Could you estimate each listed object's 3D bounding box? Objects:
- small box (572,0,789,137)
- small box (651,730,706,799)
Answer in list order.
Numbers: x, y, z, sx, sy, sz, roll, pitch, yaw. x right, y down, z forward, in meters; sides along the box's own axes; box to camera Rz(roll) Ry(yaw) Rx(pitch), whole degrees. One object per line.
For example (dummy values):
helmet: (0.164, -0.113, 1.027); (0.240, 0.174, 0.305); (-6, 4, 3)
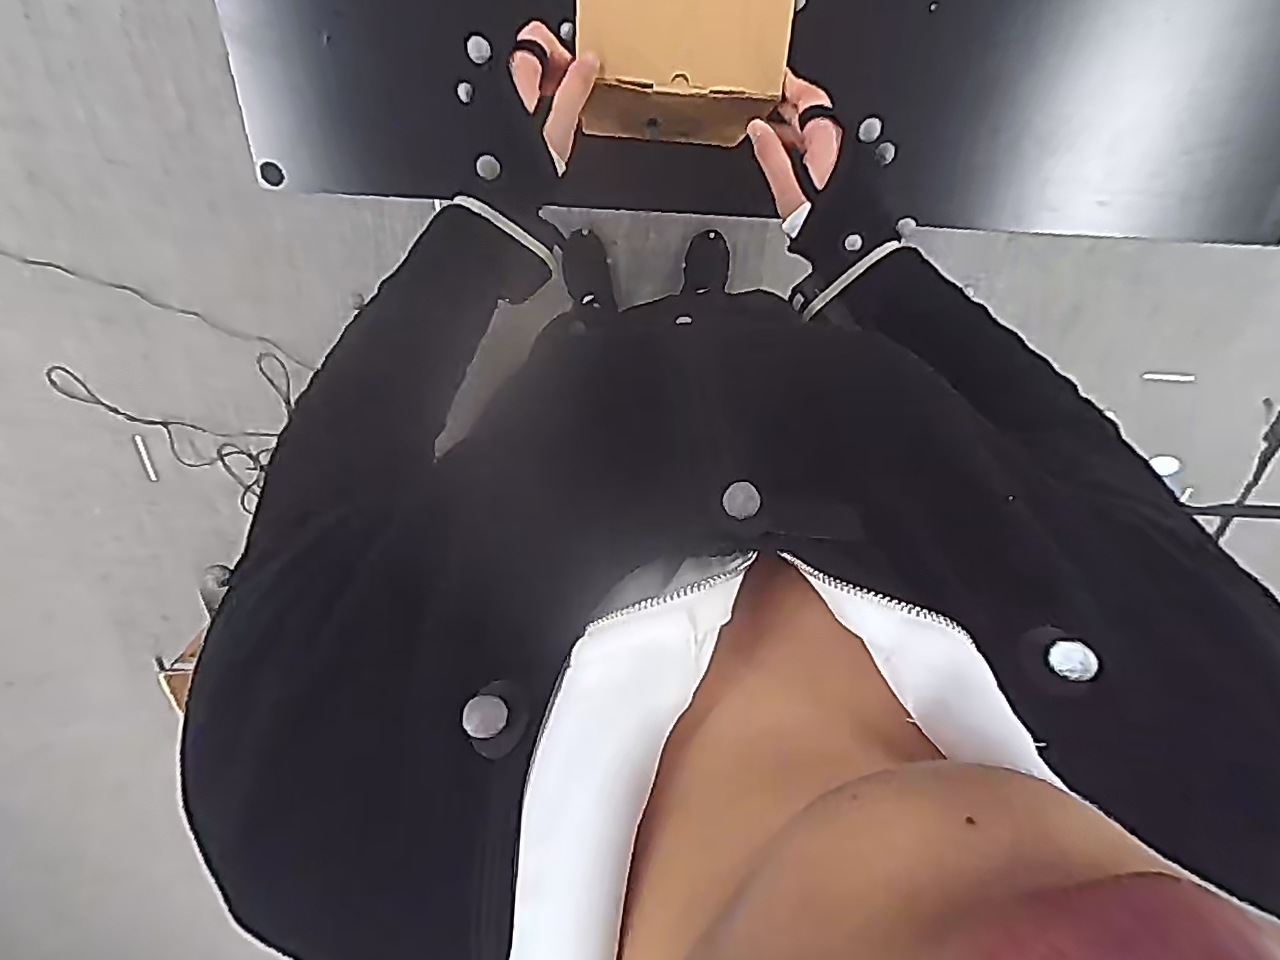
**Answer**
small box: (0.028, -0.420, 0.464); (0.168, 0.176, 0.179); (2, 112, -5)
small box: (0.141, 1.076, 2.050); (0.179, 0.176, 0.168); (4, 116, -4)
